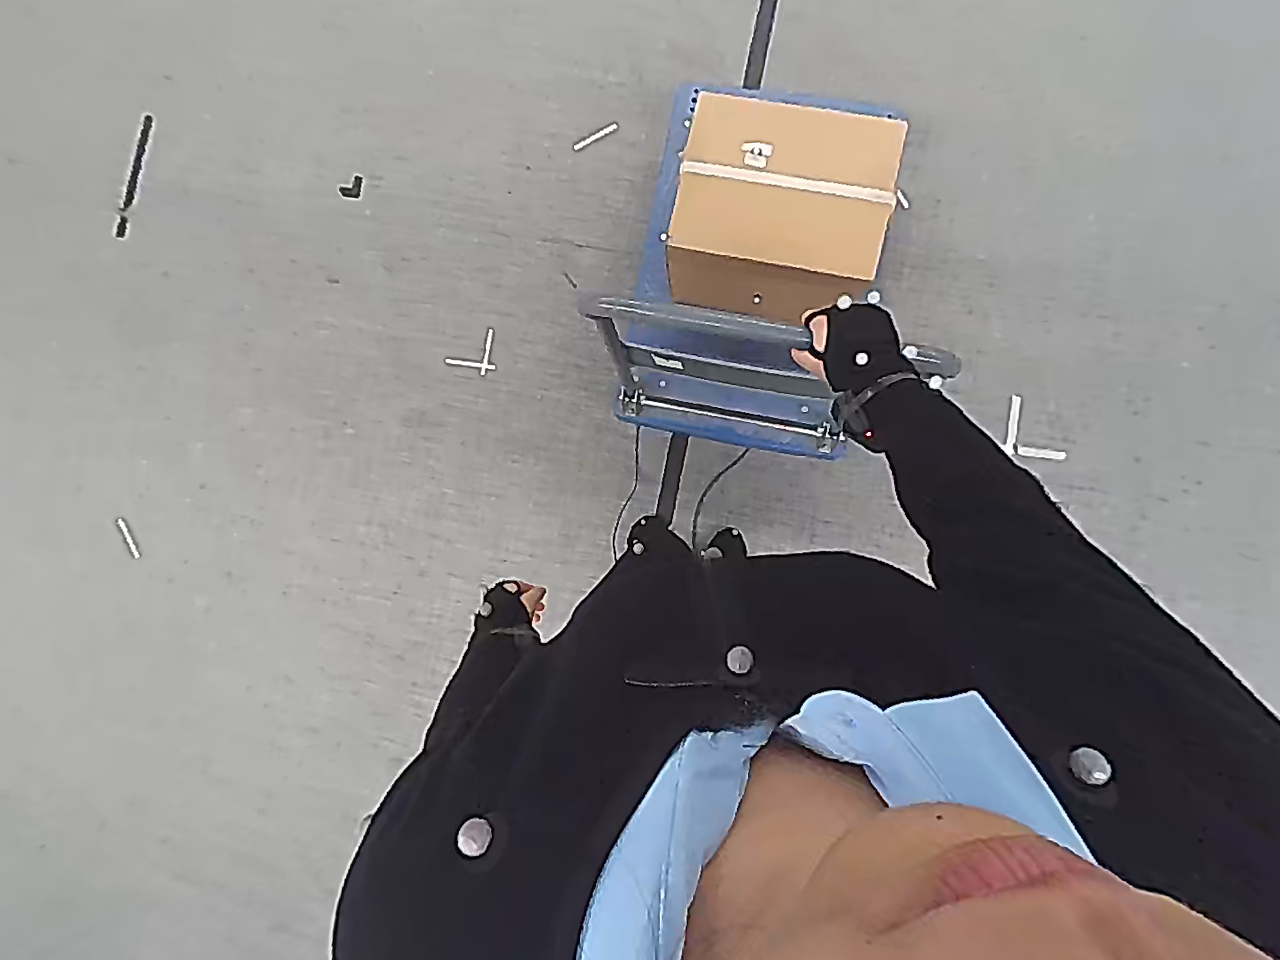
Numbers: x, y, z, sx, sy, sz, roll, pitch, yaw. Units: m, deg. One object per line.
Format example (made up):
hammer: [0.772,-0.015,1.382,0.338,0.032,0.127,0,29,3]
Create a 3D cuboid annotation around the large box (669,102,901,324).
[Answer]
large box: [0.299,-0.566,1.202,0.408,0.320,0.320,12,88,7]
